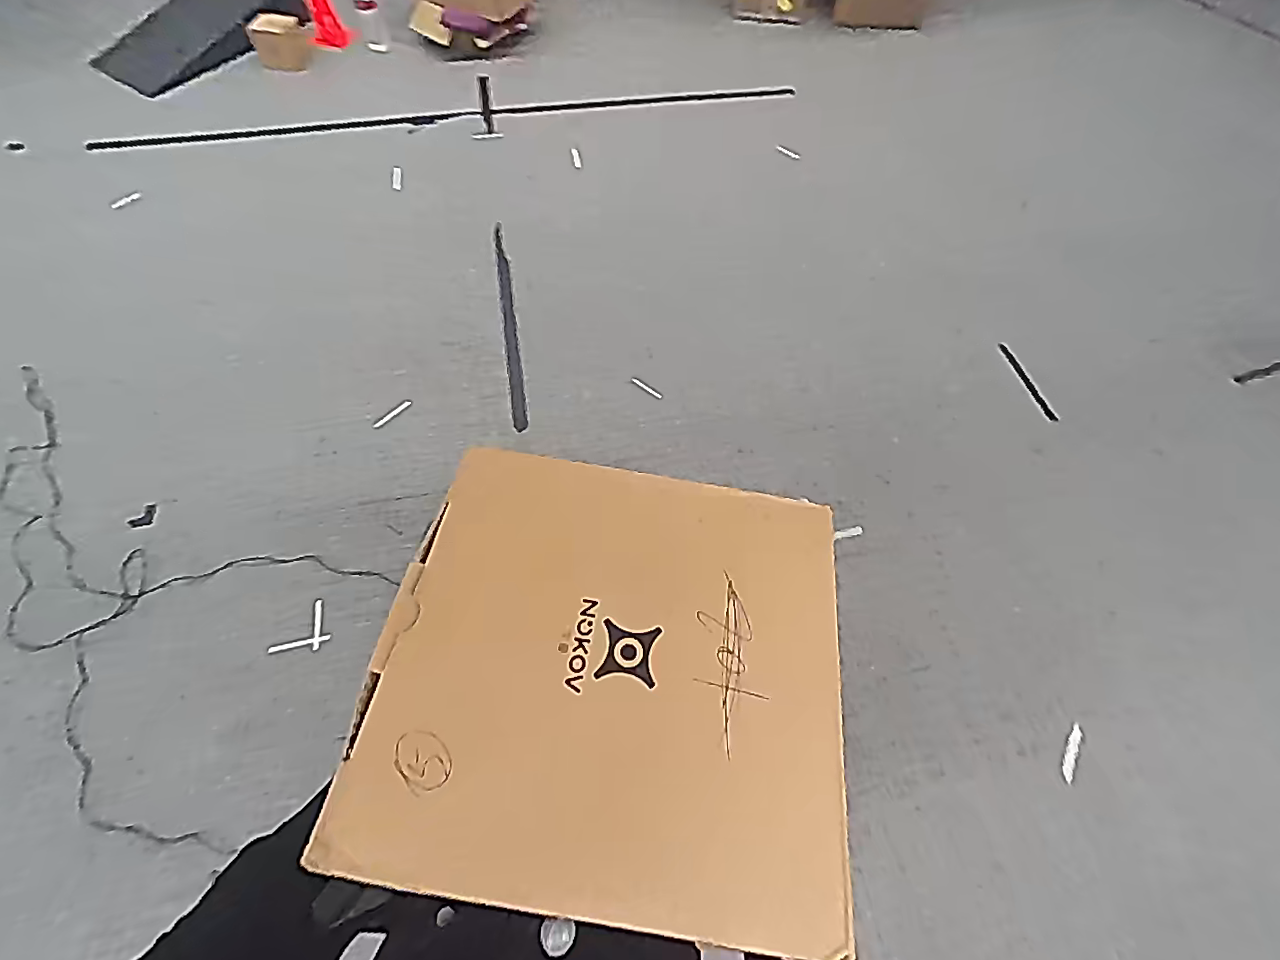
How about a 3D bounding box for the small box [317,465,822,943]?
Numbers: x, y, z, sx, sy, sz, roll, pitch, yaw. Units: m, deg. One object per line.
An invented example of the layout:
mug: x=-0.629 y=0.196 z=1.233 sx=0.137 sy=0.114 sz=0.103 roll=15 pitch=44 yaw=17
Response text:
small box: x=-0.020 y=0.115 z=0.290 sx=0.179 sy=0.176 sz=0.168 roll=9 pitch=58 yaw=-1
